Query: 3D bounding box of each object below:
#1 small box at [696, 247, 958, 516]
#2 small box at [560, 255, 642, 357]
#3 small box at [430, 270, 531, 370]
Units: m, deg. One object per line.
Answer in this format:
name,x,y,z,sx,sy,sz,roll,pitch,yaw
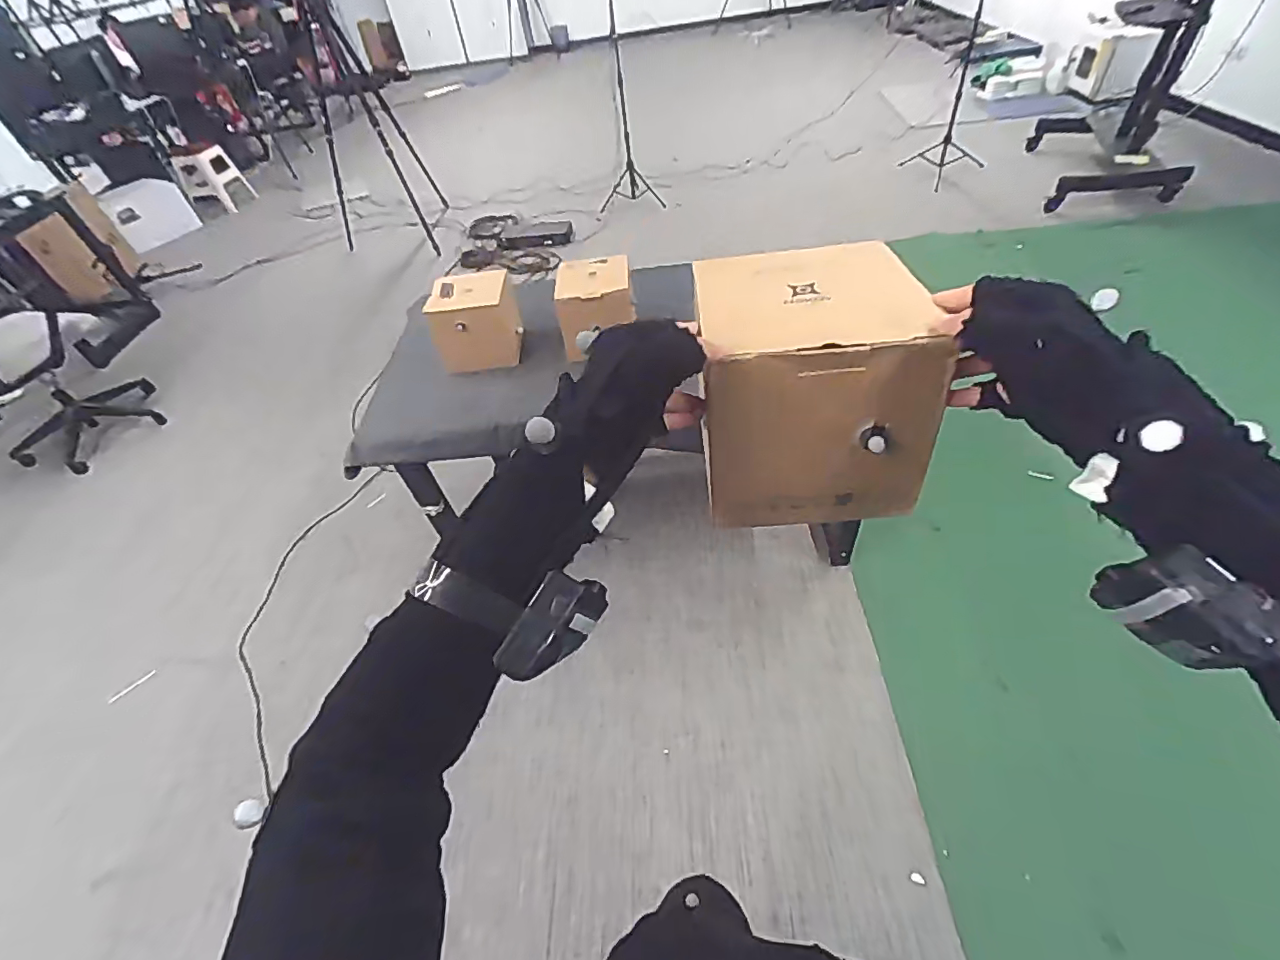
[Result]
small box,0.139,-0.080,0.470,0.168,0.176,0.179,-4,41,5
small box,-0.086,-0.405,1.283,0.168,0.176,0.179,-5,48,4
small box,-0.377,-0.382,1.306,0.179,0.176,0.168,-6,47,2
